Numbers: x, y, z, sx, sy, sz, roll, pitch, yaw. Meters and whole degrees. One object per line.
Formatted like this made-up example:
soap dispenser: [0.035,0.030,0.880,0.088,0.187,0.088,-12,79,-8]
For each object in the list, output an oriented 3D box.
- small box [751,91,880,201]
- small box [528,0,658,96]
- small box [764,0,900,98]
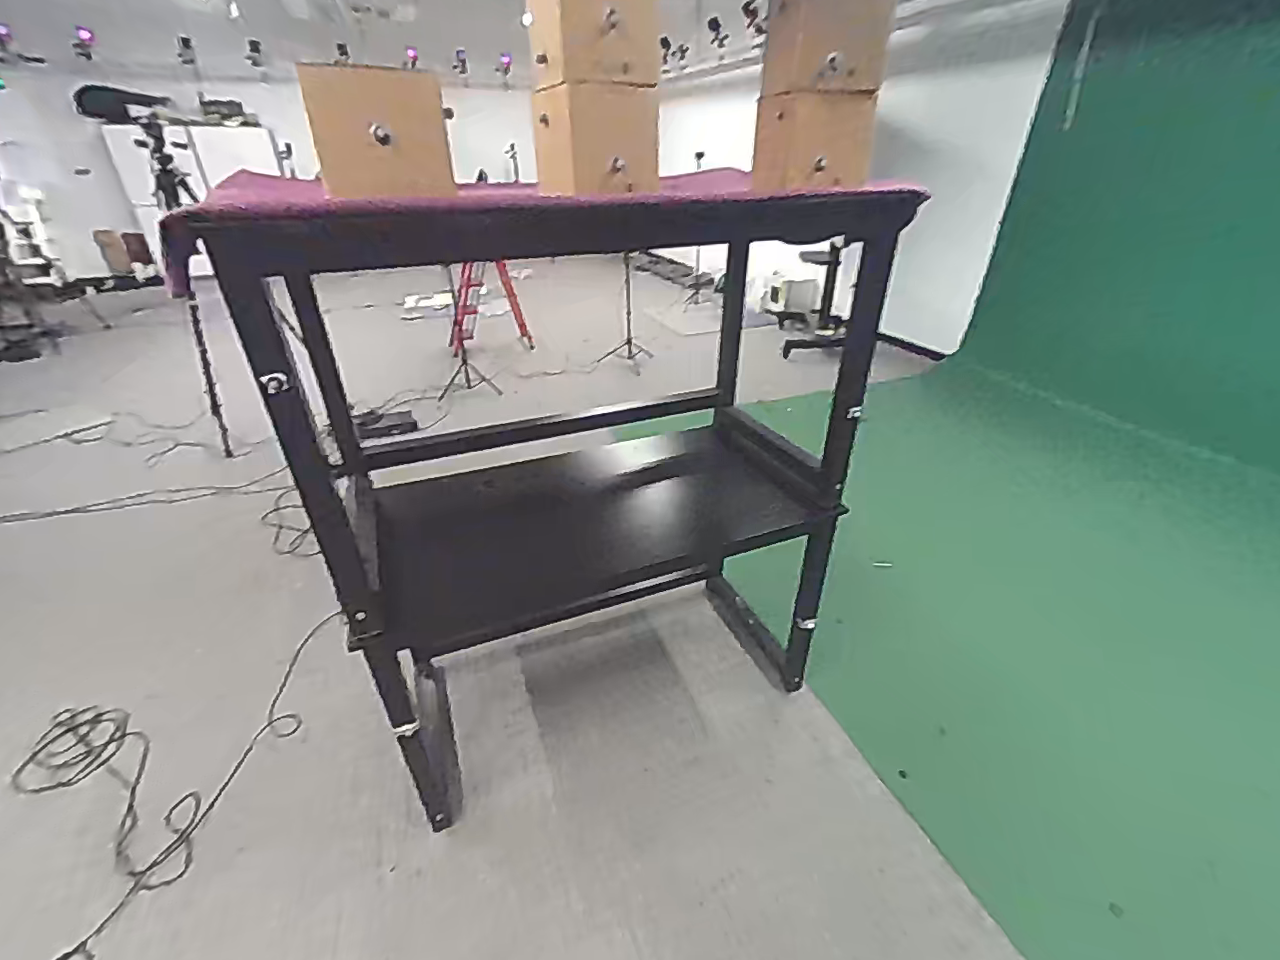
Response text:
small box: [0.327,-0.646,1.051,0.168,0.176,0.179,-7,33,-10]
small box: [-0.076,-0.731,0.875,0.168,0.176,0.179,-13,33,-21]
small box: [0.329,-0.780,0.960,0.168,0.176,0.179,-6,34,-6]
